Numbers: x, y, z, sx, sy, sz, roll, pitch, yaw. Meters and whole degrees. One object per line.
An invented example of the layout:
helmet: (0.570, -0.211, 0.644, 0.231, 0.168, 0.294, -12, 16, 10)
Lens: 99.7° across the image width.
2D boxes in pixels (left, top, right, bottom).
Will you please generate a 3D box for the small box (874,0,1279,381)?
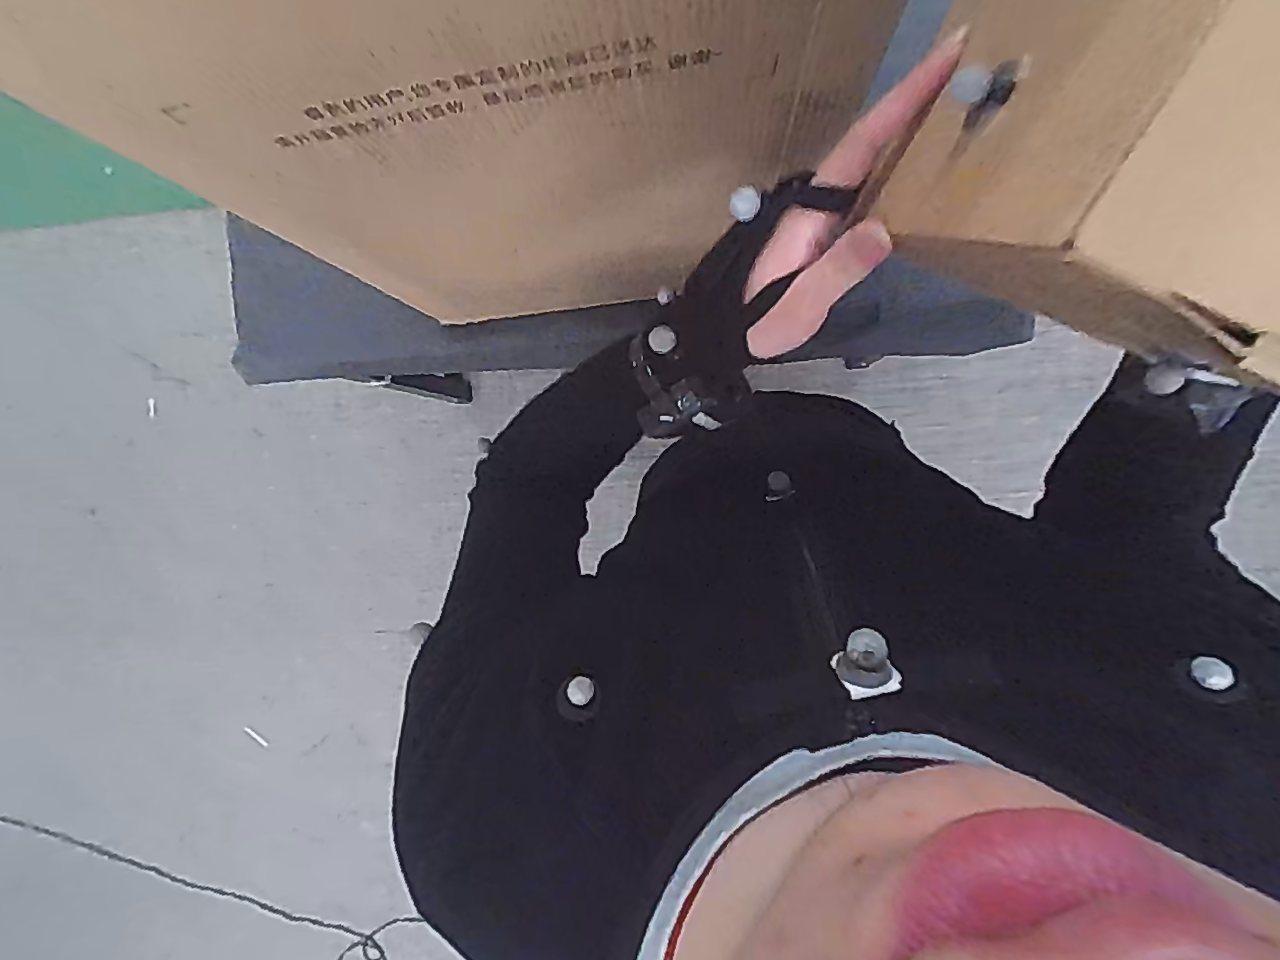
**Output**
small box: (0.204, -0.138, 0.171, 0.168, 0.176, 0.179, 18, 116, -9)
